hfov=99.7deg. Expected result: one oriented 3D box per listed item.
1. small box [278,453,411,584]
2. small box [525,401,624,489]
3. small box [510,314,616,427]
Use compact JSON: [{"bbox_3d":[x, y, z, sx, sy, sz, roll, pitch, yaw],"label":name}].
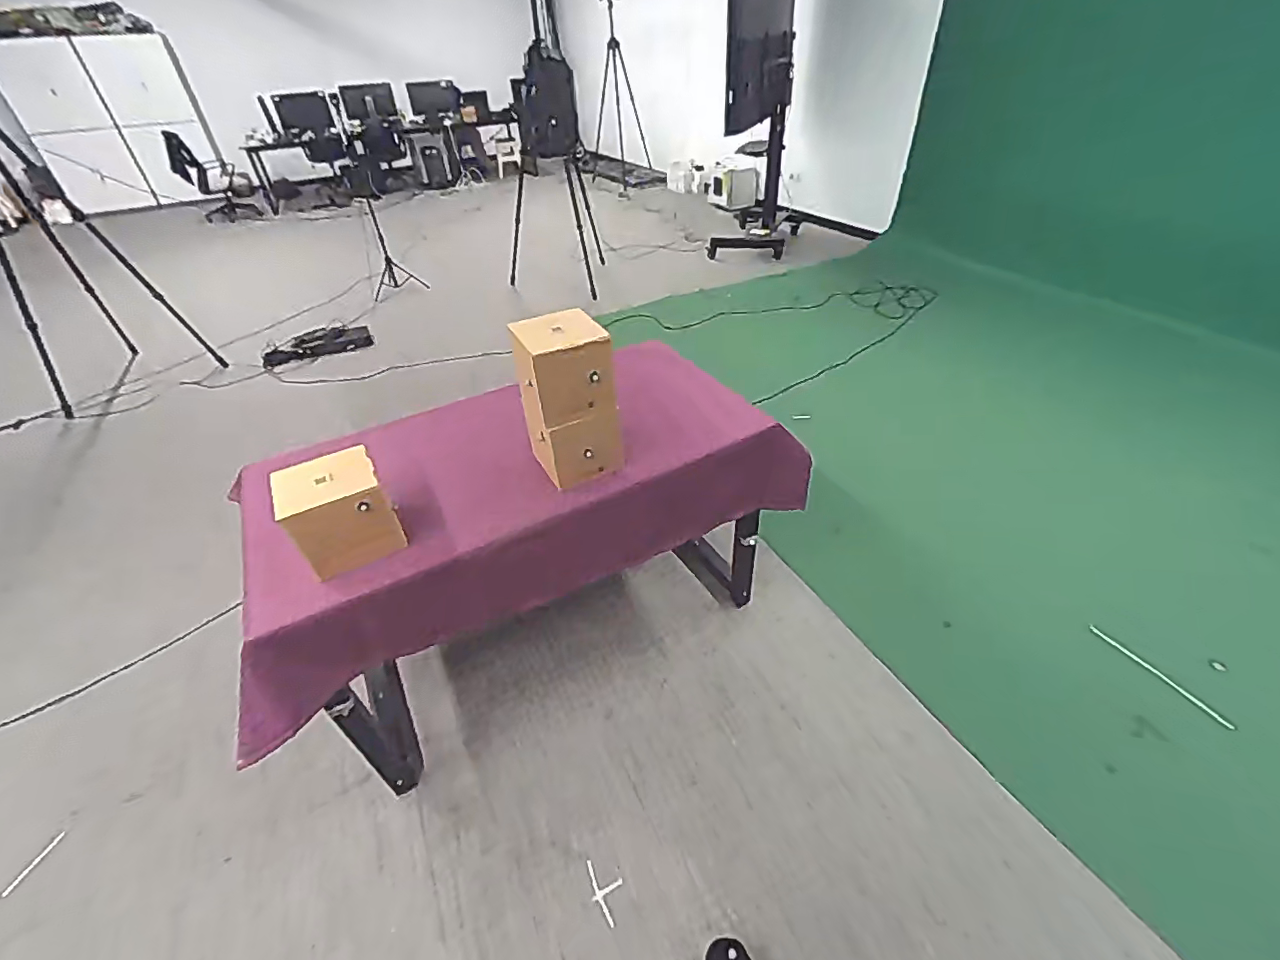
[{"bbox_3d":[-0.587,0.077,1.080,0.179,0.176,0.168,-23,42,-23],"label":"small box"},{"bbox_3d":[-0.148,-0.098,1.250,0.168,0.176,0.179,-21,41,-20],"label":"small box"},{"bbox_3d":[-0.160,-0.228,1.151,0.168,0.176,0.179,-20,40,-18],"label":"small box"}]
